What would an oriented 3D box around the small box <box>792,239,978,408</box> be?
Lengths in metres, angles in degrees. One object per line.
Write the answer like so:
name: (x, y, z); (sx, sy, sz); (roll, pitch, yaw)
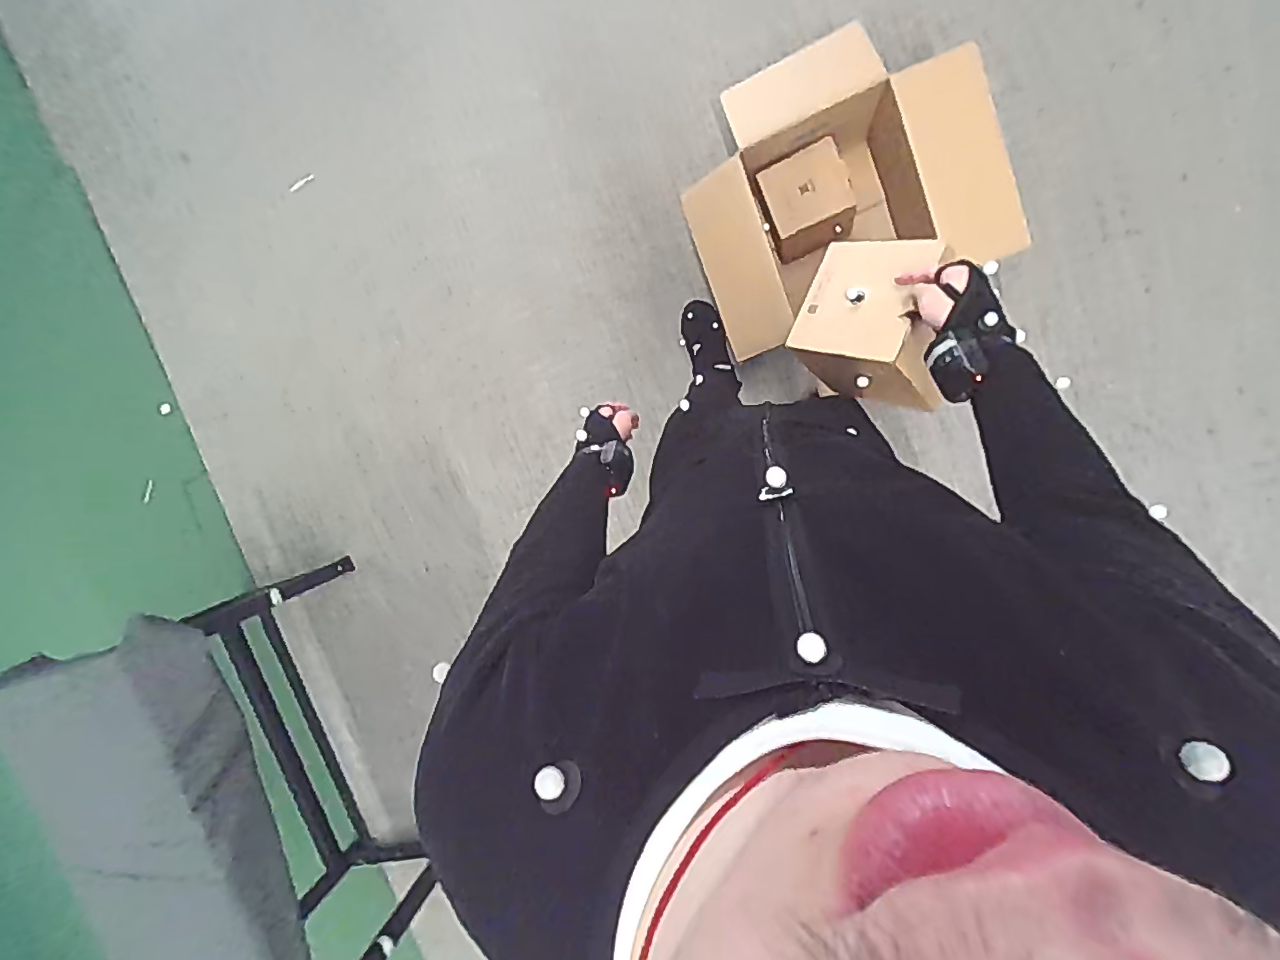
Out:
small box: (0.348, -0.220, 0.778); (0.176, 0.179, 0.168); (23, 91, 46)
